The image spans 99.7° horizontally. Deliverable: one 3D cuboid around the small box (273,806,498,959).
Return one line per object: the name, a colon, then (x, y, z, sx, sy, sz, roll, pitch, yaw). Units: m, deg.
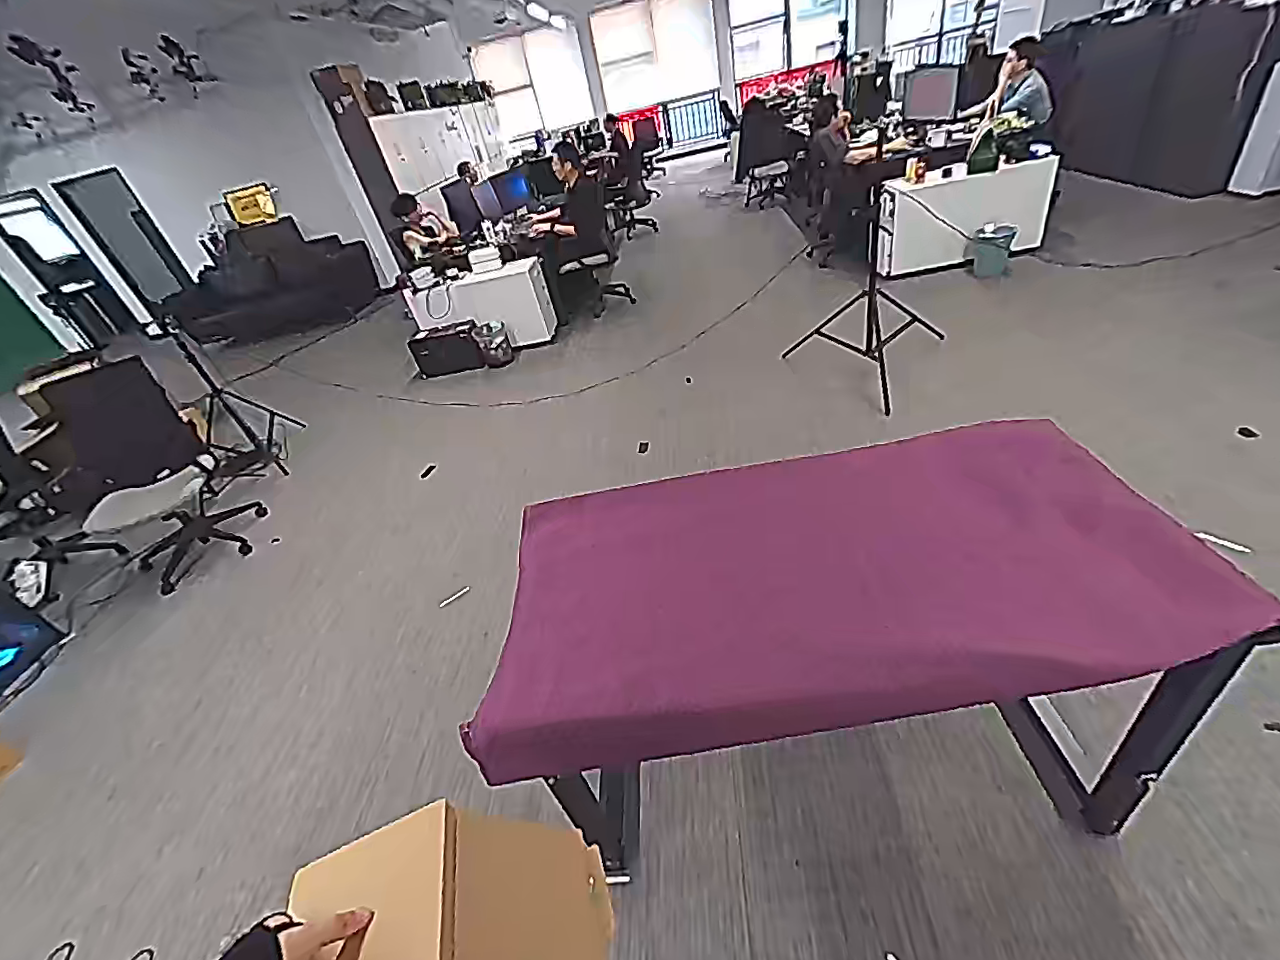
small box: (-0.252, 0.496, 0.565, 0.179, 0.176, 0.168, -17, 25, -10)
